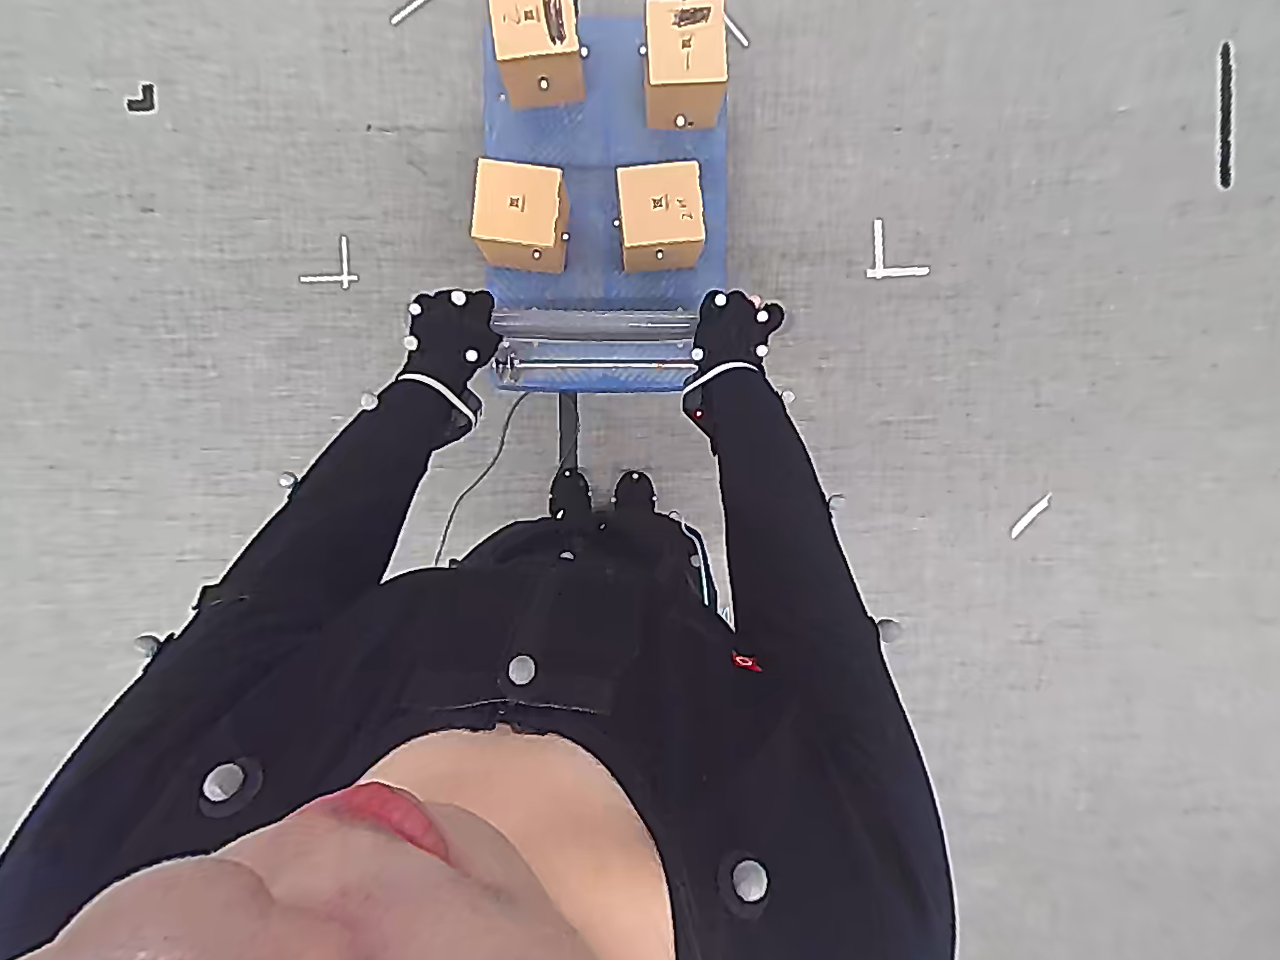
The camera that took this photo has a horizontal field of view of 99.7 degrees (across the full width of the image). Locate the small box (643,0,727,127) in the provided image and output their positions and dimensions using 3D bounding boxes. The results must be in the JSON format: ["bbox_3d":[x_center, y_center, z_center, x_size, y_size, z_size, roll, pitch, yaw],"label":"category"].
[{"bbox_3d":[0.094,-0.921,1.197,0.168,0.176,0.179,-3,94,-1],"label":"small box"}]

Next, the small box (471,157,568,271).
[{"bbox_3d":[-0.262,-0.582,1.204,0.179,0.176,0.168,6,92,-3],"label":"small box"}]

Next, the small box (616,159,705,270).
[{"bbox_3d":[0.042,-0.585,1.212,0.179,0.176,0.168,-6,93,-1],"label":"small box"}]
